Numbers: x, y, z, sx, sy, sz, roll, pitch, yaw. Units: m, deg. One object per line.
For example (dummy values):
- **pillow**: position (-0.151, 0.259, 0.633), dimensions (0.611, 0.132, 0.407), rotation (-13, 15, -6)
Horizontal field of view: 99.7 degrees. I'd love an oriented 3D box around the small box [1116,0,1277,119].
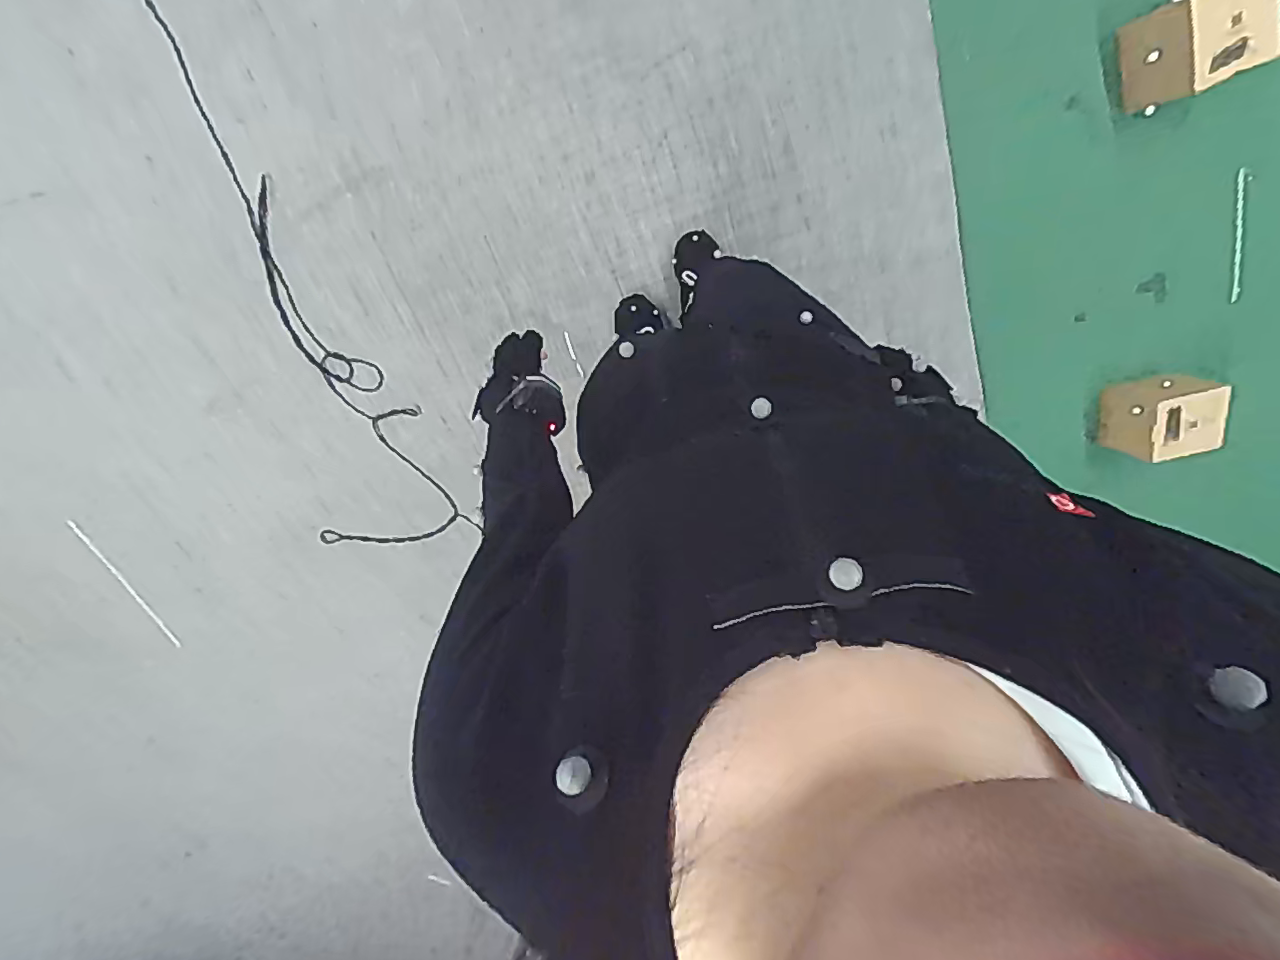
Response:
- **small box**: position (1.146, -0.887, 1.125), dimensions (0.168, 0.176, 0.179), rotation (-22, 108, 7)
